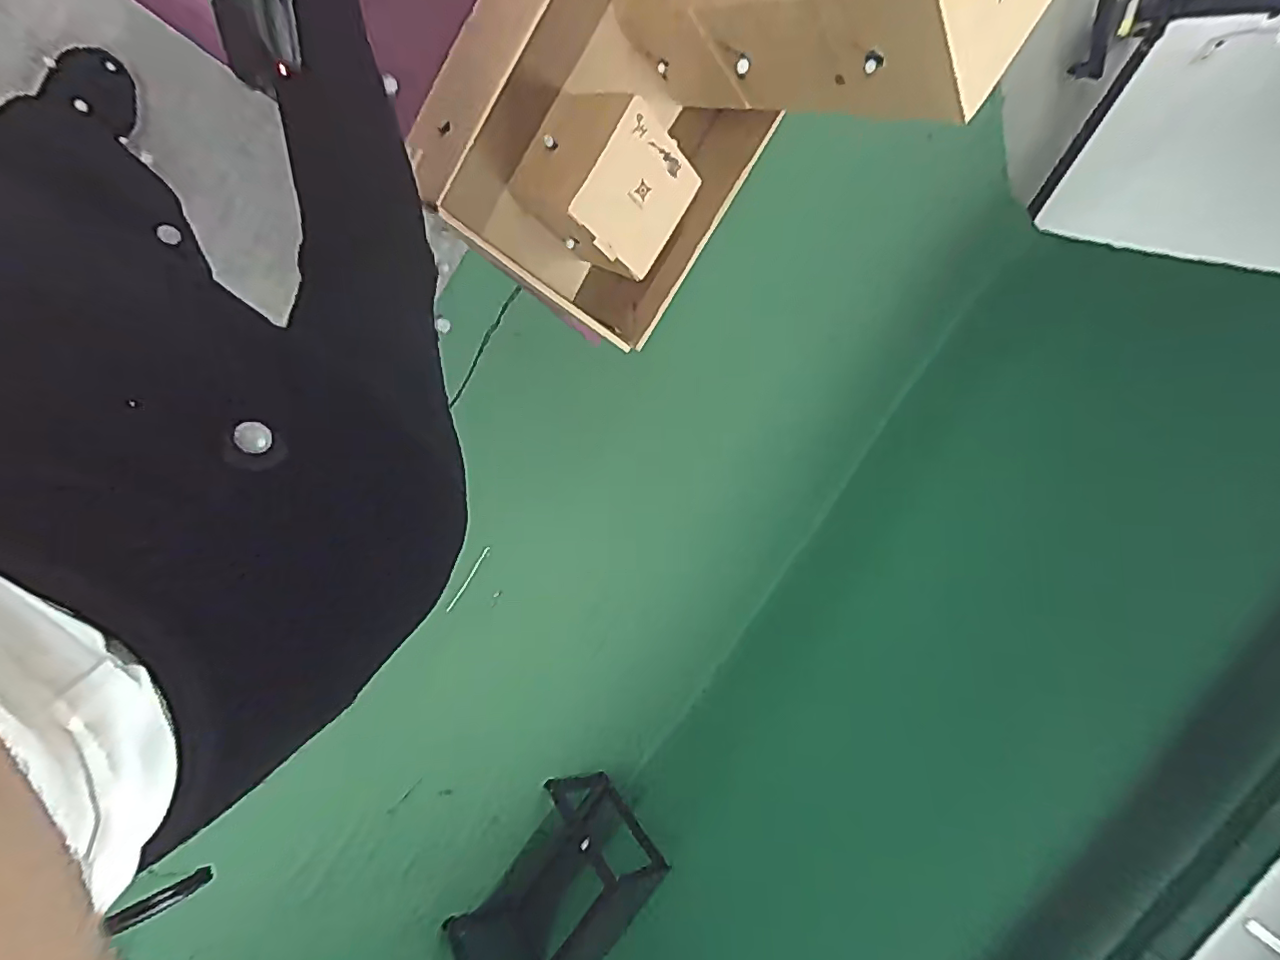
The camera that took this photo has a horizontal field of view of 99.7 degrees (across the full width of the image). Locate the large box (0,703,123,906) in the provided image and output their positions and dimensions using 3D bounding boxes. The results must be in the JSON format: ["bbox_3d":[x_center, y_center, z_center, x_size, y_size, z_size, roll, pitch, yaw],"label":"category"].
[{"bbox_3d":[-1.666,0.872,1.403,0.408,0.320,0.320,-17,131,-36],"label":"large box"}]

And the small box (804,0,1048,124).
[{"bbox_3d":[0.297,-0.517,0.566,0.168,0.176,0.179,24,103,-49],"label":"small box"}]

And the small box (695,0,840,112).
[{"bbox_3d":[0.201,-0.602,0.671,0.168,0.176,0.179,23,104,-48],"label":"small box"}]
